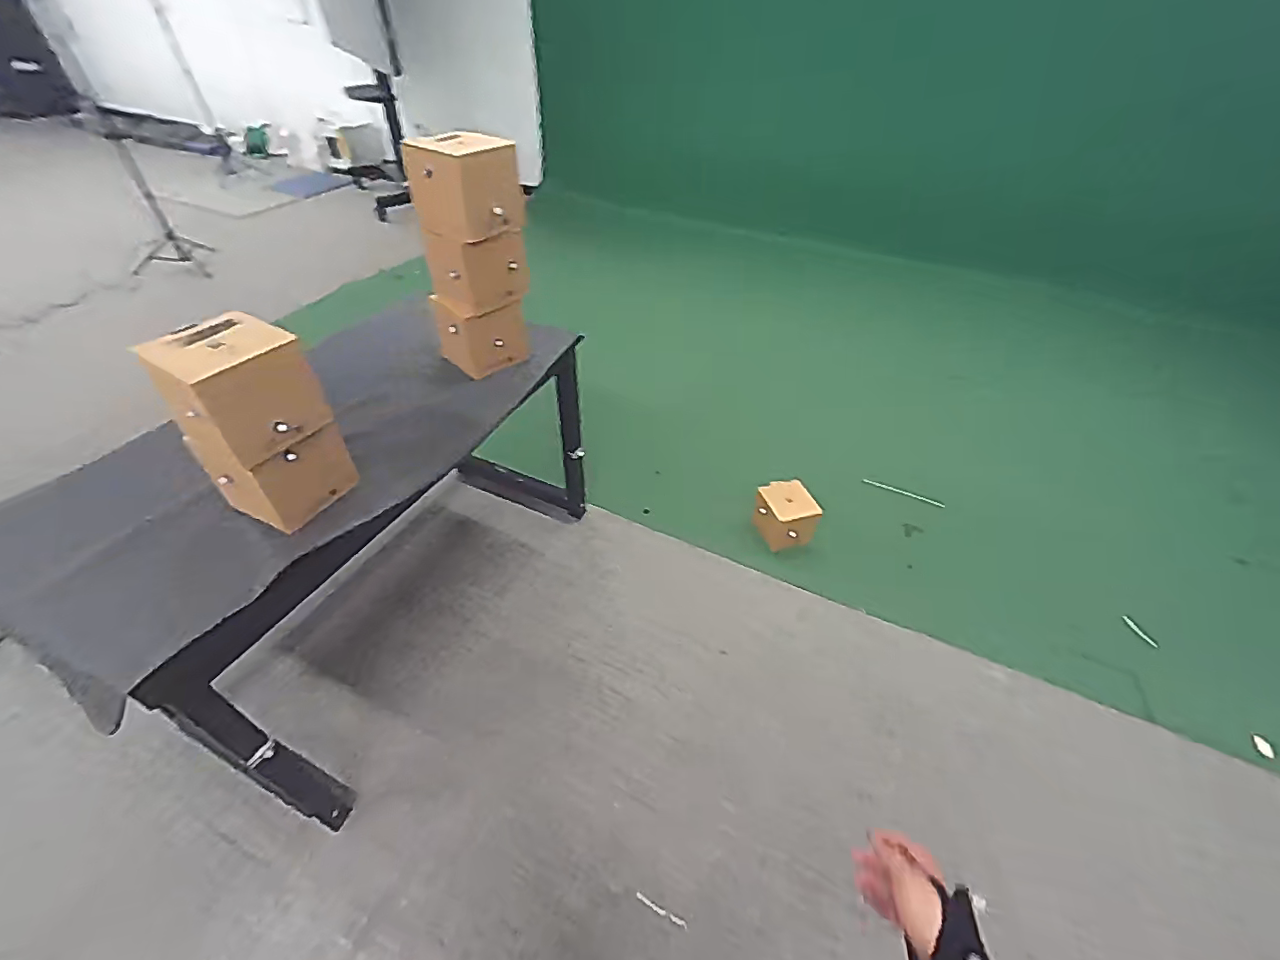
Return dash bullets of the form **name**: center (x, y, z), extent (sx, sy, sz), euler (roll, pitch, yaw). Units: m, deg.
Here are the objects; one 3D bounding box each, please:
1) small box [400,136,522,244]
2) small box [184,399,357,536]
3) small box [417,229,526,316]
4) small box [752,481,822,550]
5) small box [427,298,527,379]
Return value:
- **small box**: center (-0.381, -0.629, 1.173), extent (0.179, 0.176, 0.168), euler (26, 48, 25)
- **small box**: center (-0.672, -0.023, 1.002), extent (0.179, 0.176, 0.168), euler (19, 46, 19)
- **small box**: center (-0.391, -0.505, 1.282), extent (0.179, 0.176, 0.168), euler (30, 49, 30)
- **small box**: center (0.523, 0.133, 1.942), extent (0.168, 0.176, 0.179), euler (-12, 44, -14)
- **small box**: center (-0.410, -0.378, 1.383), extent (0.168, 0.176, 0.179), euler (-32, 51, -31)
